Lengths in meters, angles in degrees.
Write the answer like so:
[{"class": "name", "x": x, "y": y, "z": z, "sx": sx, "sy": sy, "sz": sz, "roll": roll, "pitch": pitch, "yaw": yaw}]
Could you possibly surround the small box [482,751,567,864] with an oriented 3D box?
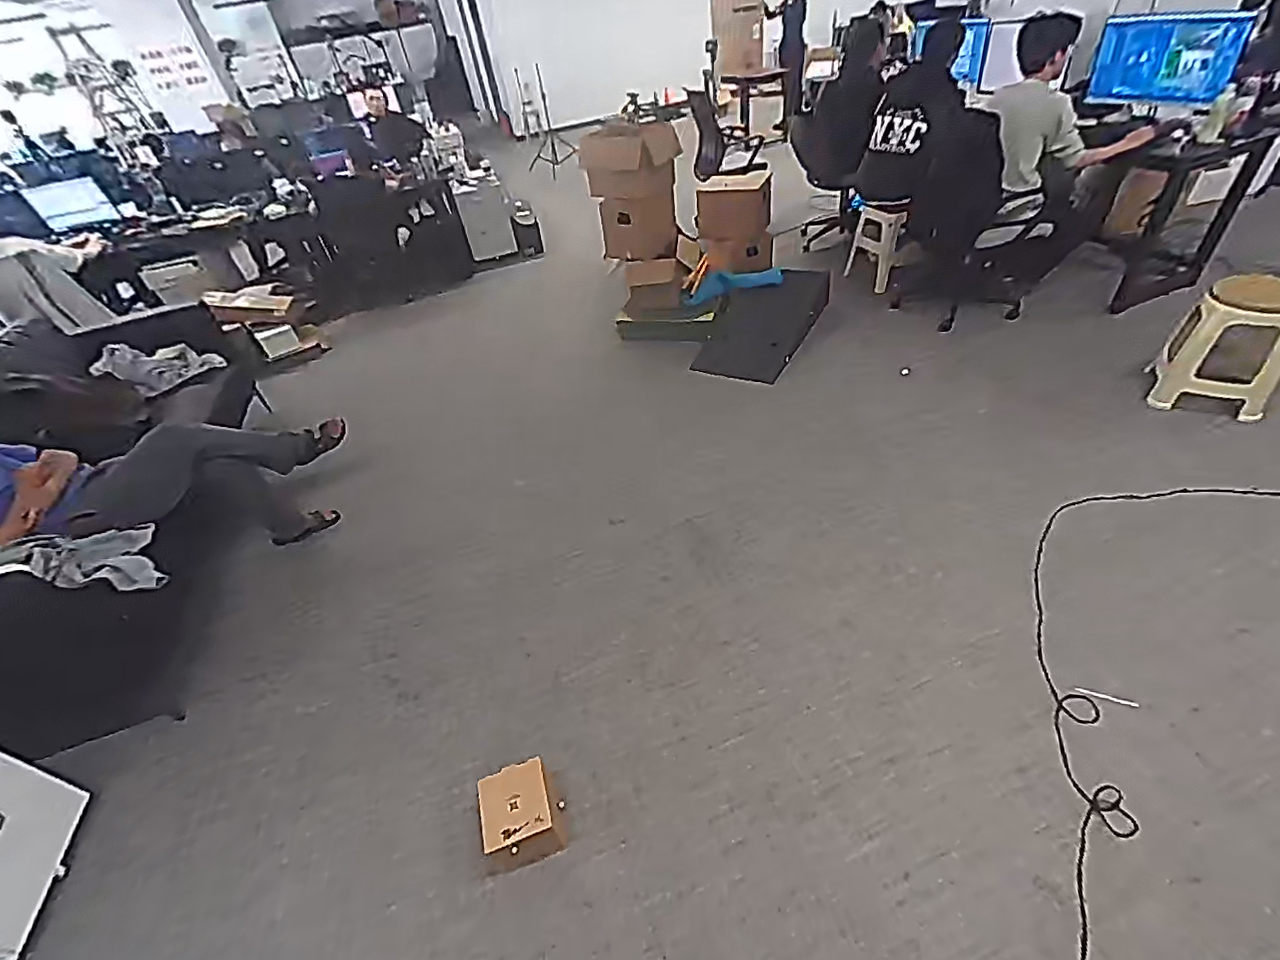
[{"class": "small box", "x": -0.295, "y": 0.840, "z": 1.387, "sx": 0.168, "sy": 0.176, "sz": 0.179, "roll": -18, "pitch": 41, "yaw": -8}]
